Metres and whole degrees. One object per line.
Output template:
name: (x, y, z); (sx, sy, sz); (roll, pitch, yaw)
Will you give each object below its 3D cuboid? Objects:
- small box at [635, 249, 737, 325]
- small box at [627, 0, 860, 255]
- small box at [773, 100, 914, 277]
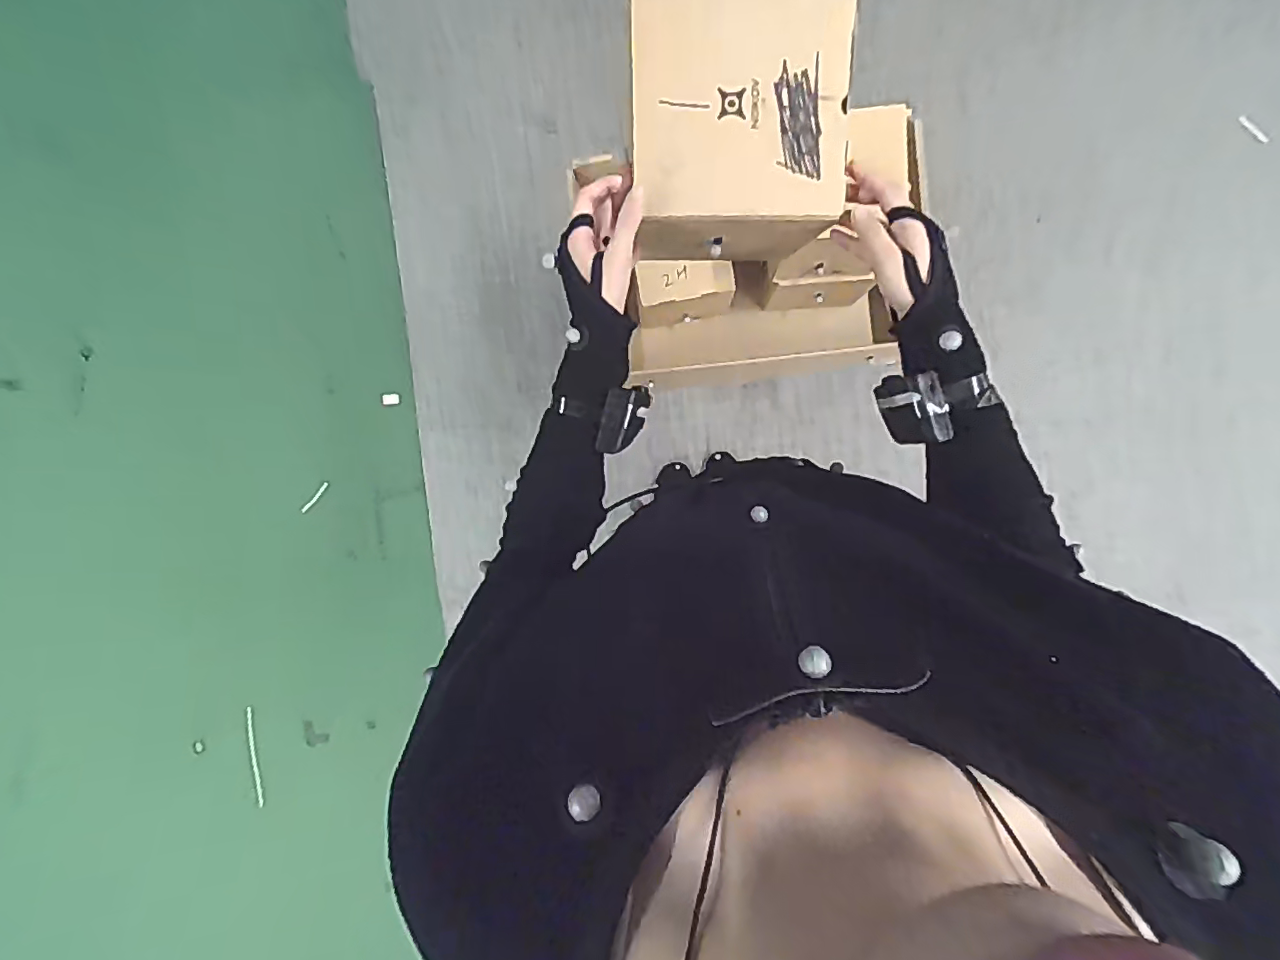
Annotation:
small box: (0.077, -0.404, 0.997); (0.168, 0.176, 0.179); (-9, 92, 5)
small box: (0.077, -0.312, 0.497); (0.179, 0.176, 0.168); (0, 101, -1)
small box: (0.294, -0.428, 0.819); (0.168, 0.176, 0.179); (-3, 92, 6)
